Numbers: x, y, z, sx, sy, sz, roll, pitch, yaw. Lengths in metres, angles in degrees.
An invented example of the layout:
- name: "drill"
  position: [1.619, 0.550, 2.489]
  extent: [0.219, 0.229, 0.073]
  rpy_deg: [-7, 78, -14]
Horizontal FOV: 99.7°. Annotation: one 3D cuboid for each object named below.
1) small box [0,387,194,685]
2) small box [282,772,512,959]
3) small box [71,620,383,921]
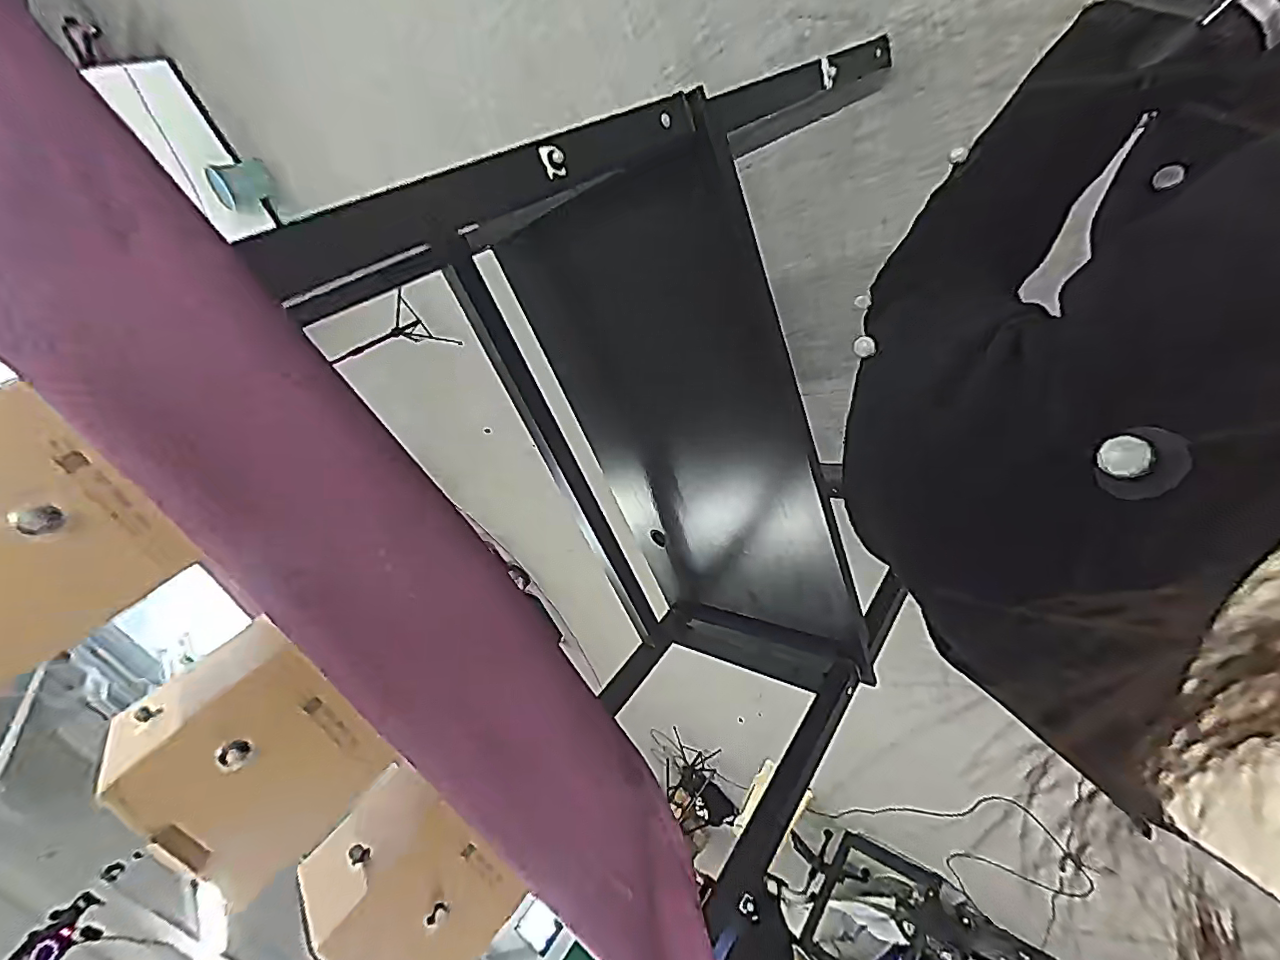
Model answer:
- name: "small box"
  position: [-0.483, 0.049, 0.410]
  extent: [0.179, 0.176, 0.168]
  rpy_deg: [-4, 123, 50]
- name: "small box"
  position: [-0.279, 0.486, 0.641]
  extent: [0.179, 0.176, 0.168]
  rpy_deg: [-9, 118, 51]
- name: "small box"
  position: [-0.389, 0.263, 0.534]
  extent: [0.179, 0.176, 0.168]
  rpy_deg: [0, 124, 49]
